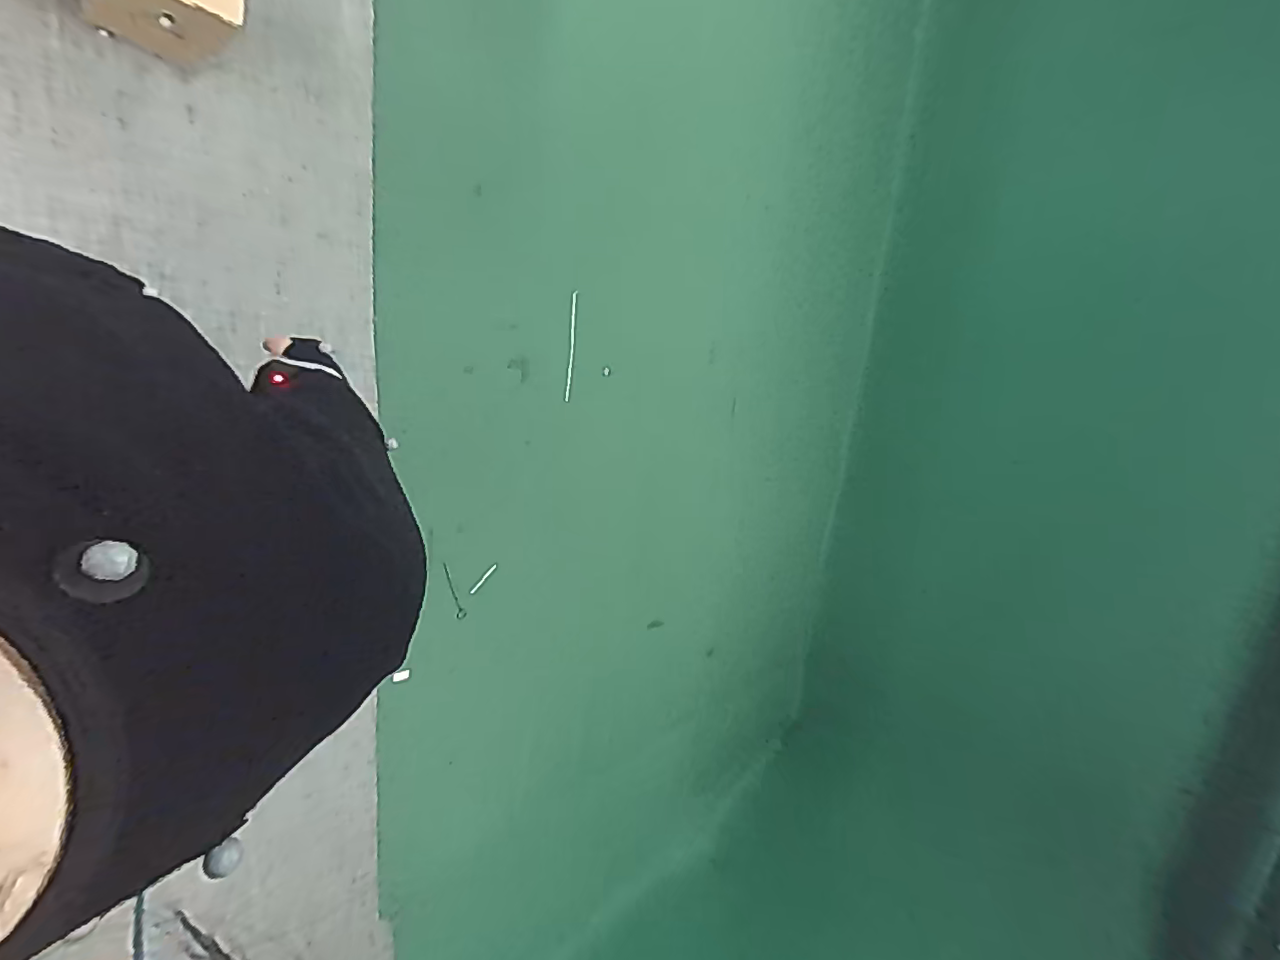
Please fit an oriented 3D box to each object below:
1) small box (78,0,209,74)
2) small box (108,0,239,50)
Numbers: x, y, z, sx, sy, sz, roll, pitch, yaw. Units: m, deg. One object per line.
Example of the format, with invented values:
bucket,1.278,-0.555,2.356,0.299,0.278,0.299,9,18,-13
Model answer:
small box,-0.860,-0.864,0.947,0.168,0.176,0.179,4,99,-48
small box,-0.739,-0.821,0.841,0.168,0.176,0.179,-2,106,-49
